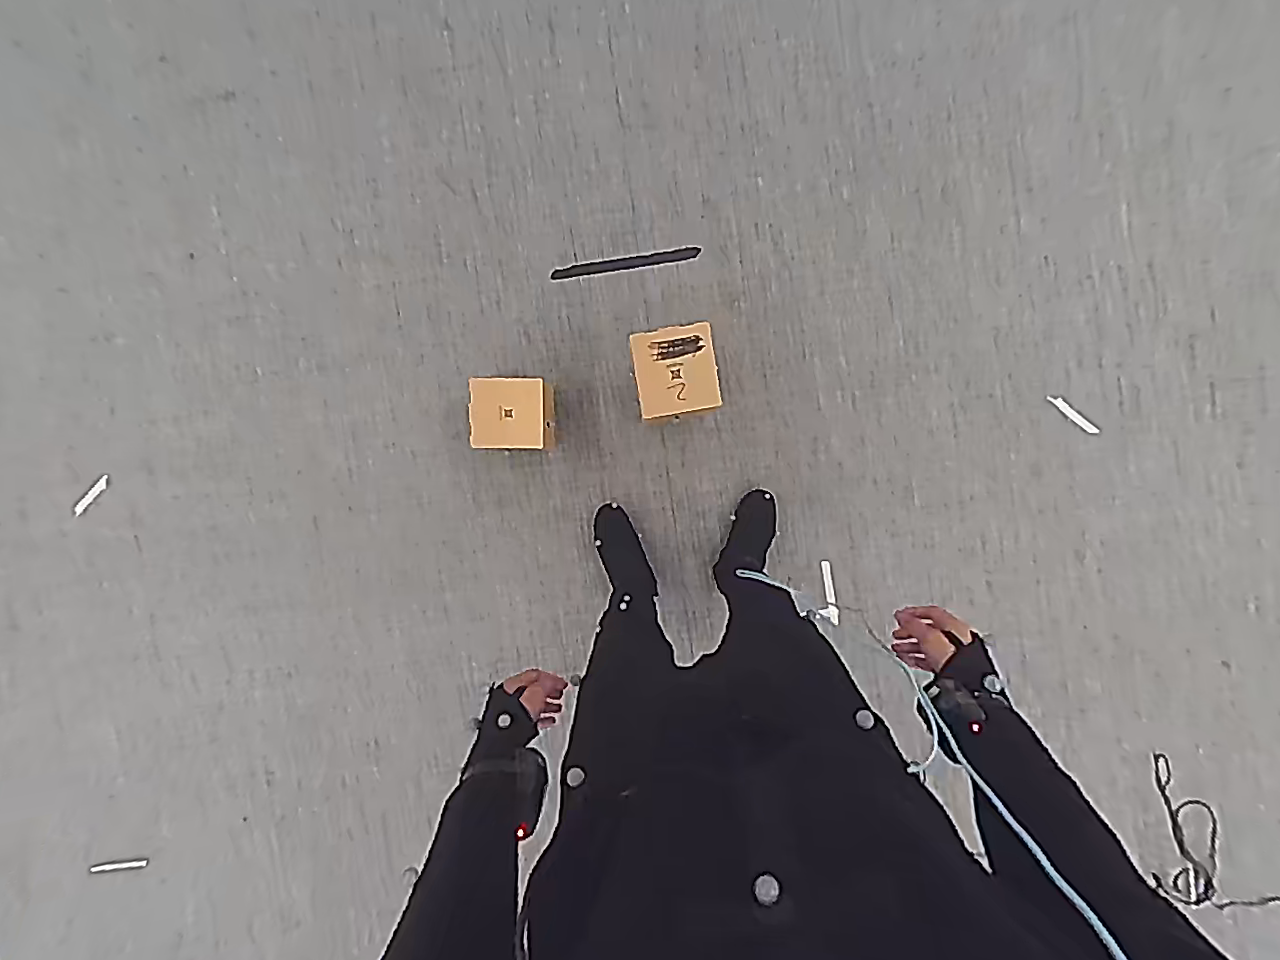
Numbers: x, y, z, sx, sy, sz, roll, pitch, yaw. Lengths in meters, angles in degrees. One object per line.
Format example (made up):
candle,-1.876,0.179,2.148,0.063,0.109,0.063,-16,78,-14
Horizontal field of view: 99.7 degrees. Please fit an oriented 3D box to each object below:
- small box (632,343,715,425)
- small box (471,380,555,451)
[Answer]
small box,0.079,-0.232,1.341,0.179,0.176,0.168,-9,93,0
small box,-0.310,-0.157,1.348,0.179,0.176,0.168,0,93,1
